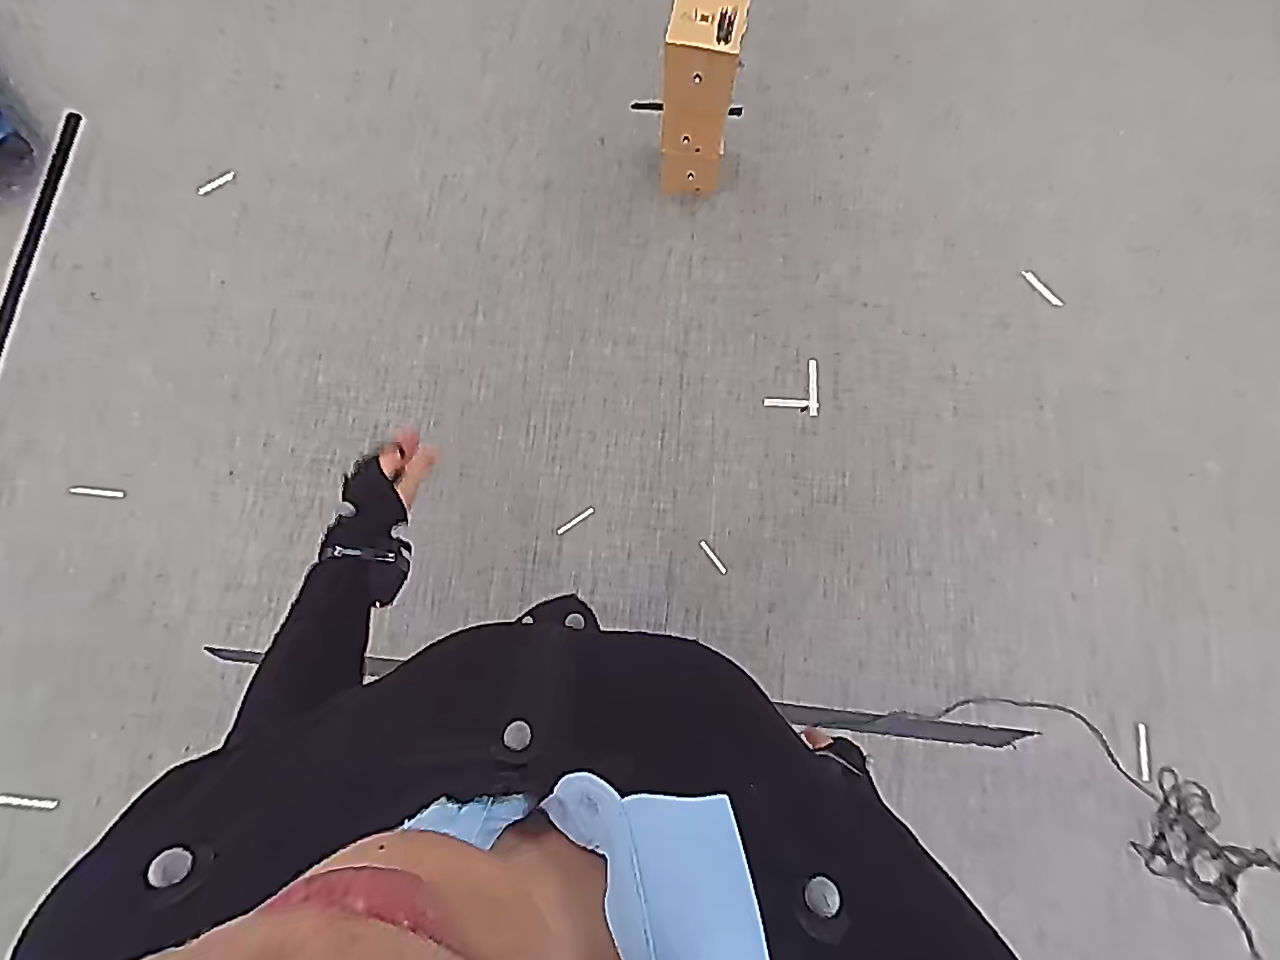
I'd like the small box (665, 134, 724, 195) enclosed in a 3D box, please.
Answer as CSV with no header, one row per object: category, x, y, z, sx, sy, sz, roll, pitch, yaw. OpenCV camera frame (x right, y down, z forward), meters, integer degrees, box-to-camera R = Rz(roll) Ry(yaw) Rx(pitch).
small box,0.166,-1.003,1.651,0.168,0.176,0.179,3,79,0

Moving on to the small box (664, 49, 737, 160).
small box,0.160,-1.030,1.491,0.168,0.176,0.179,10,80,2
